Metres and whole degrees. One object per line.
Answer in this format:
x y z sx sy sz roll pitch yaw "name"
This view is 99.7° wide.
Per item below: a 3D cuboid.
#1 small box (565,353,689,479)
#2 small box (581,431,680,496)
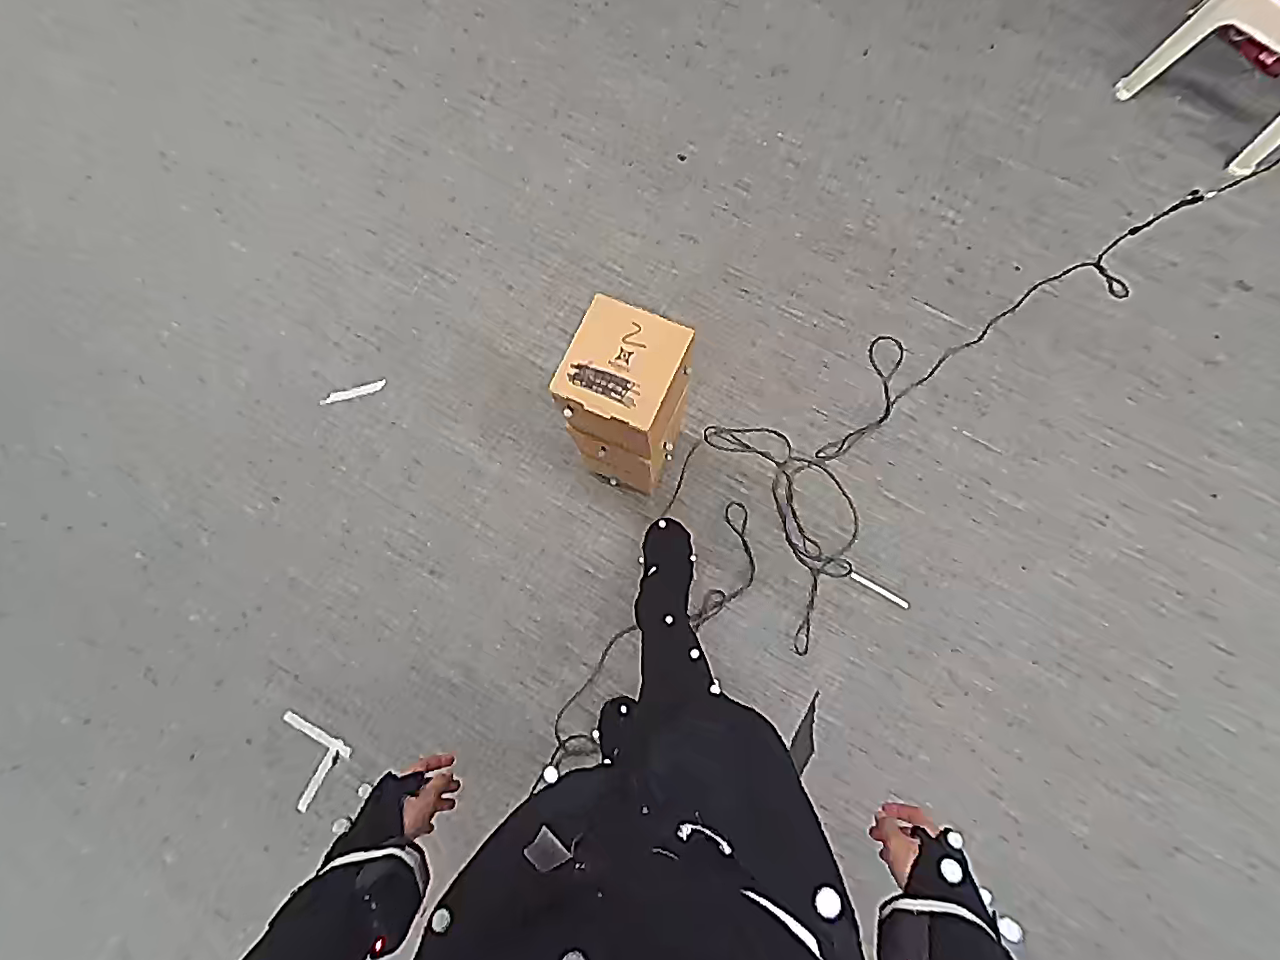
-0.017 -0.112 1.043 0.179 0.176 0.168 24 81 8 "small box"
-0.013 -0.081 1.202 0.168 0.176 0.179 22 81 8 "small box"
